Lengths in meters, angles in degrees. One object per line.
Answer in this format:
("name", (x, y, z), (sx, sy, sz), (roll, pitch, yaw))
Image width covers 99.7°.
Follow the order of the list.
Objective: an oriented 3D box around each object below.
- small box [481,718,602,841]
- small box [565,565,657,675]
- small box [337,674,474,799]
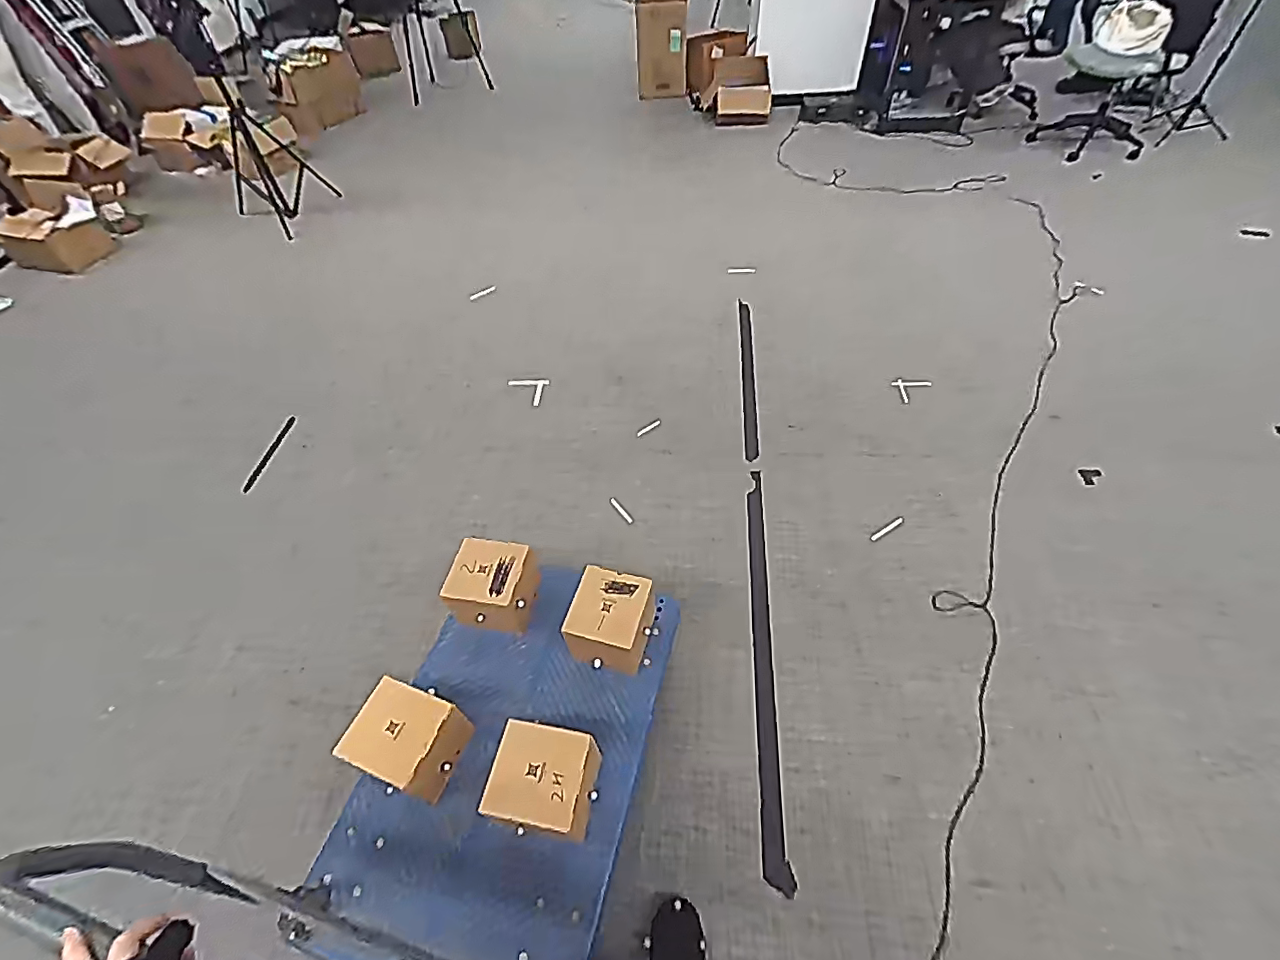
("small box", (-0.184, 0.596, 1.071), (0.179, 0.176, 0.168), (7, 51, 10))
("small box", (-0.060, 0.332, 1.283), (0.168, 0.176, 0.179), (12, 53, 14))
("small box", (-0.481, 0.543, 1.136), (0.179, 0.176, 0.168), (16, 52, 14))
